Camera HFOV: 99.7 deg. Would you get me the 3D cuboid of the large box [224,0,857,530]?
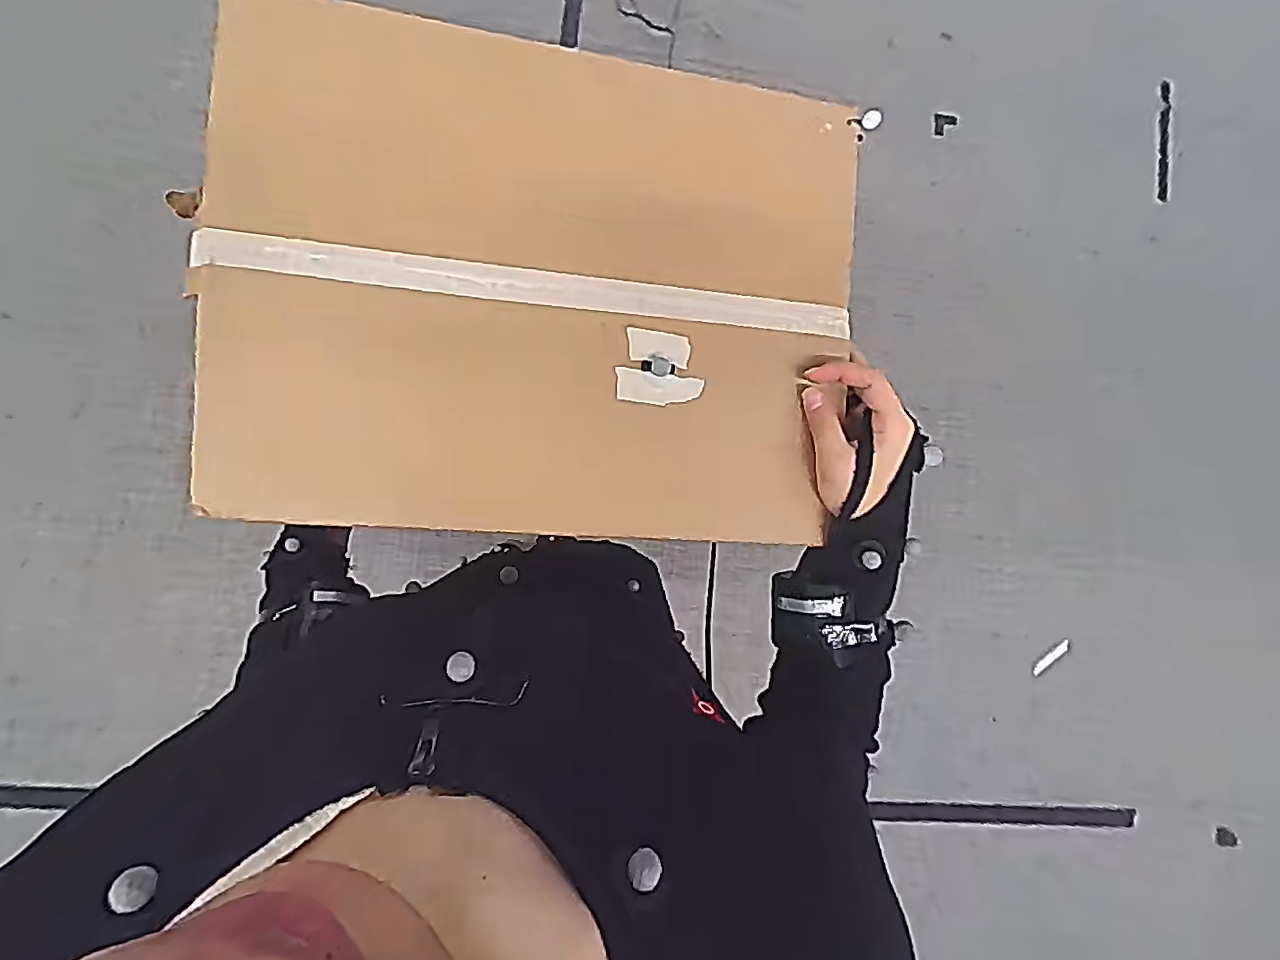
[{"bbox_3d":[-0.074,-0.128,0.501,0.408,0.320,0.320,4,91,-12],"label":"large box"}]
